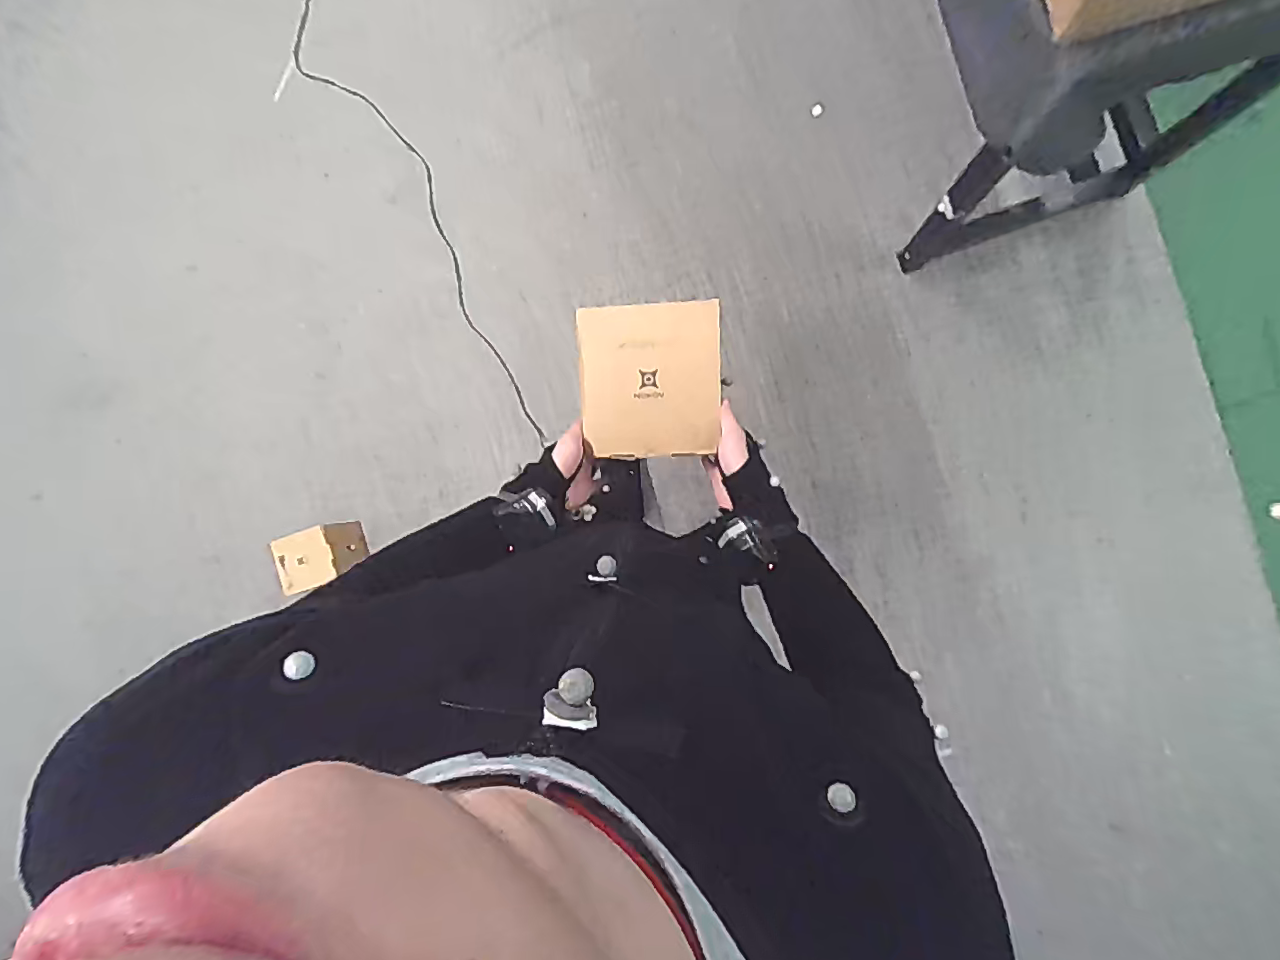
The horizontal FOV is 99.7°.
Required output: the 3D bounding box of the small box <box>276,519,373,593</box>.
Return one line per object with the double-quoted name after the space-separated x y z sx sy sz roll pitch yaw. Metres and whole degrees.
-0.940 0.222 1.635 0.179 0.176 0.168 -18 89 8 "small box"
